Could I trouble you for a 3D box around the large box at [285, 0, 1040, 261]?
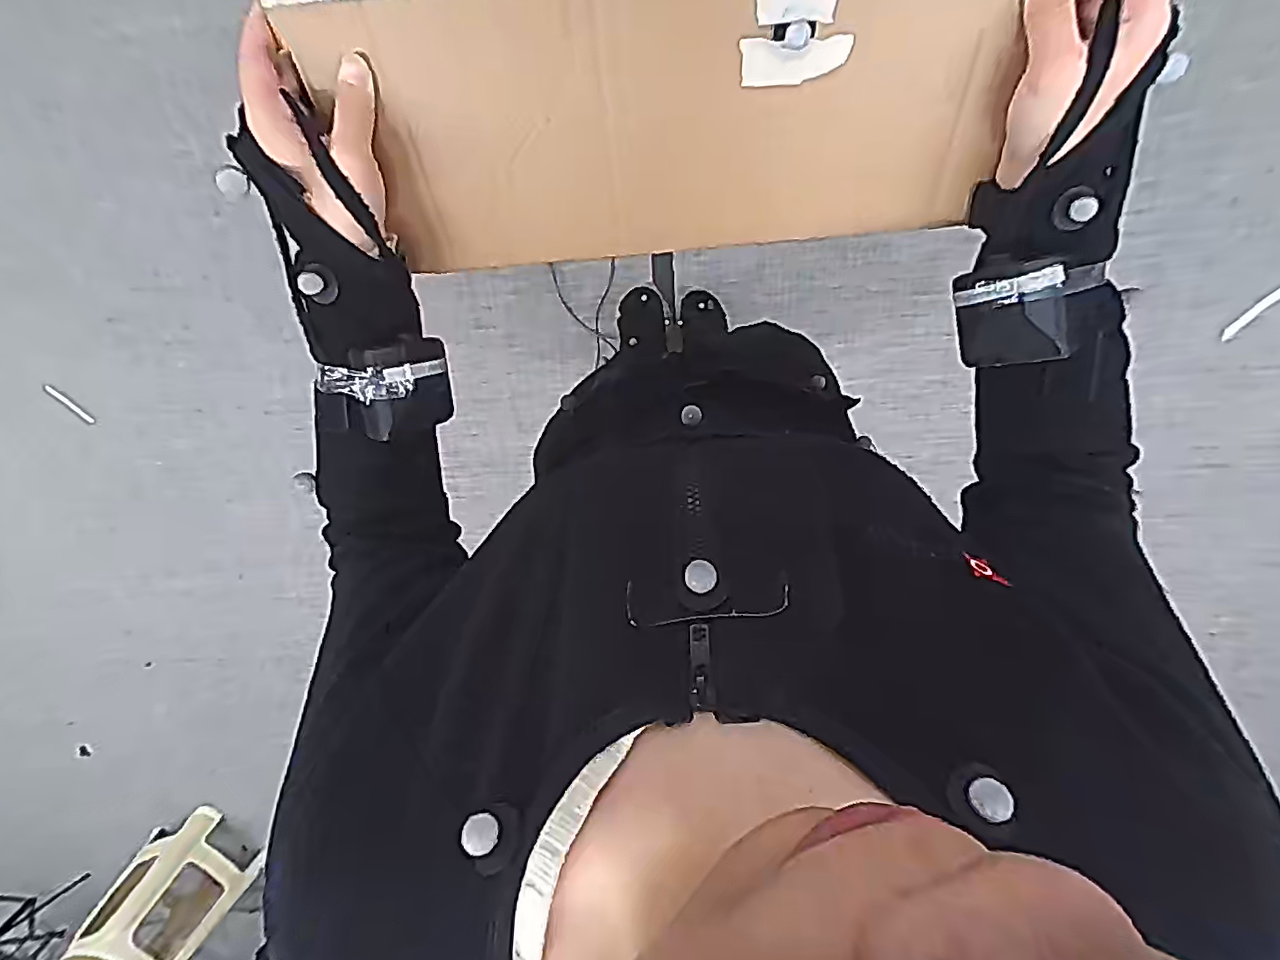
[{"bbox_3d":[0.007,-0.382,0.365,0.408,0.320,0.320,-4,137,3],"label":"large box"}]
